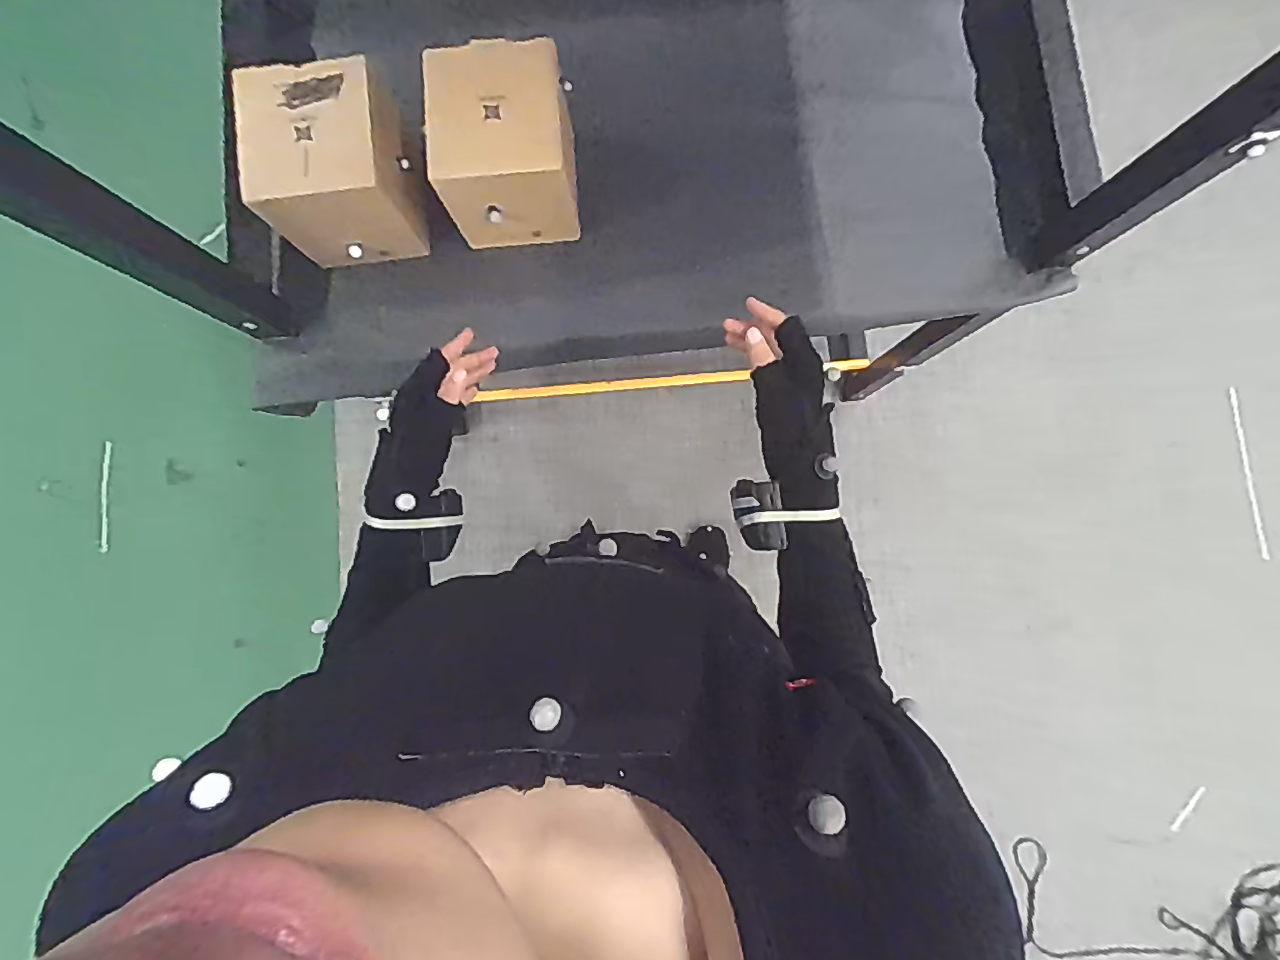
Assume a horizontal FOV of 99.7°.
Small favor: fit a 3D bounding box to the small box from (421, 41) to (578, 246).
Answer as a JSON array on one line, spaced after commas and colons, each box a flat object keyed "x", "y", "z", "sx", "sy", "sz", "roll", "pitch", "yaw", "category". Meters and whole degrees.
[{"x": -0.181, "y": -0.439, "z": 0.736, "sx": 0.168, "sy": 0.176, "sz": 0.179, "roll": -5, "pitch": 83, "yaw": 0, "category": "small box"}]

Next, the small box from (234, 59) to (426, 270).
[{"x": -0.406, "y": -0.414, "z": 0.733, "sx": 0.168, "sy": 0.176, "sz": 0.179, "roll": -7, "pitch": 84, "yaw": 0, "category": "small box"}]
